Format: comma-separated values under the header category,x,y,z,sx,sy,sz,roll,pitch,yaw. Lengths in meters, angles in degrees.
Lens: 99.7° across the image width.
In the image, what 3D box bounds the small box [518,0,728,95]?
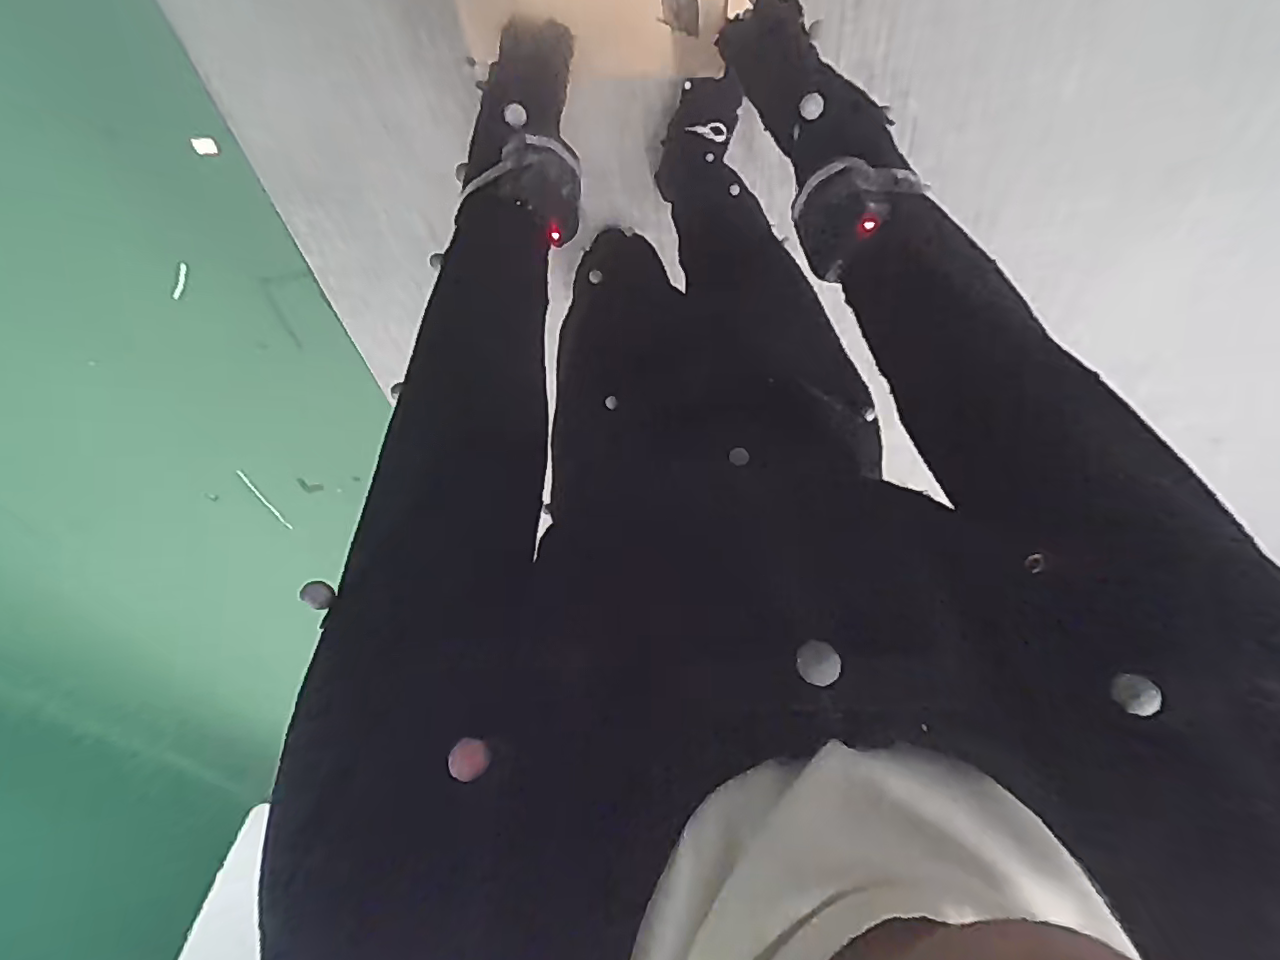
category,x,y,z,sx,sy,sz,roll,pitch,yaw
small box,-0.013,-0.467,0.484,0.179,0.176,0.168,0,137,4
